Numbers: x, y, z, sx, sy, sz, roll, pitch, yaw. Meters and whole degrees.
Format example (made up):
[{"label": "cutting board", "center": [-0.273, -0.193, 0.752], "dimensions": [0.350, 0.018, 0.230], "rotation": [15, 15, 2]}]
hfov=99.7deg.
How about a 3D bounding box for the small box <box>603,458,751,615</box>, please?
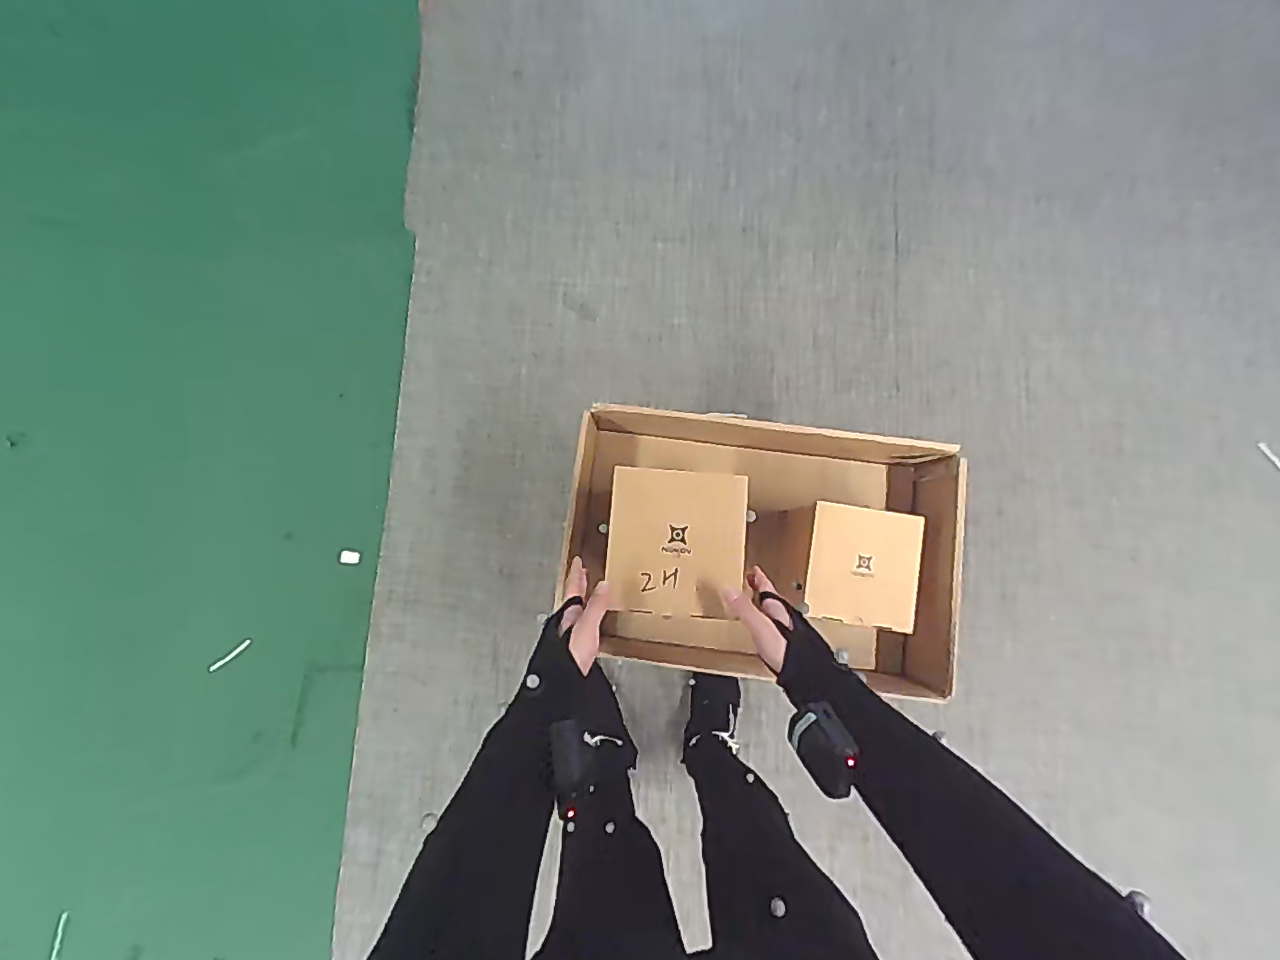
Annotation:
[{"label": "small box", "center": [0.046, 0.076, 0.725], "dimensions": [0.168, 0.176, 0.179], "rotation": [5, 83, 2]}]
